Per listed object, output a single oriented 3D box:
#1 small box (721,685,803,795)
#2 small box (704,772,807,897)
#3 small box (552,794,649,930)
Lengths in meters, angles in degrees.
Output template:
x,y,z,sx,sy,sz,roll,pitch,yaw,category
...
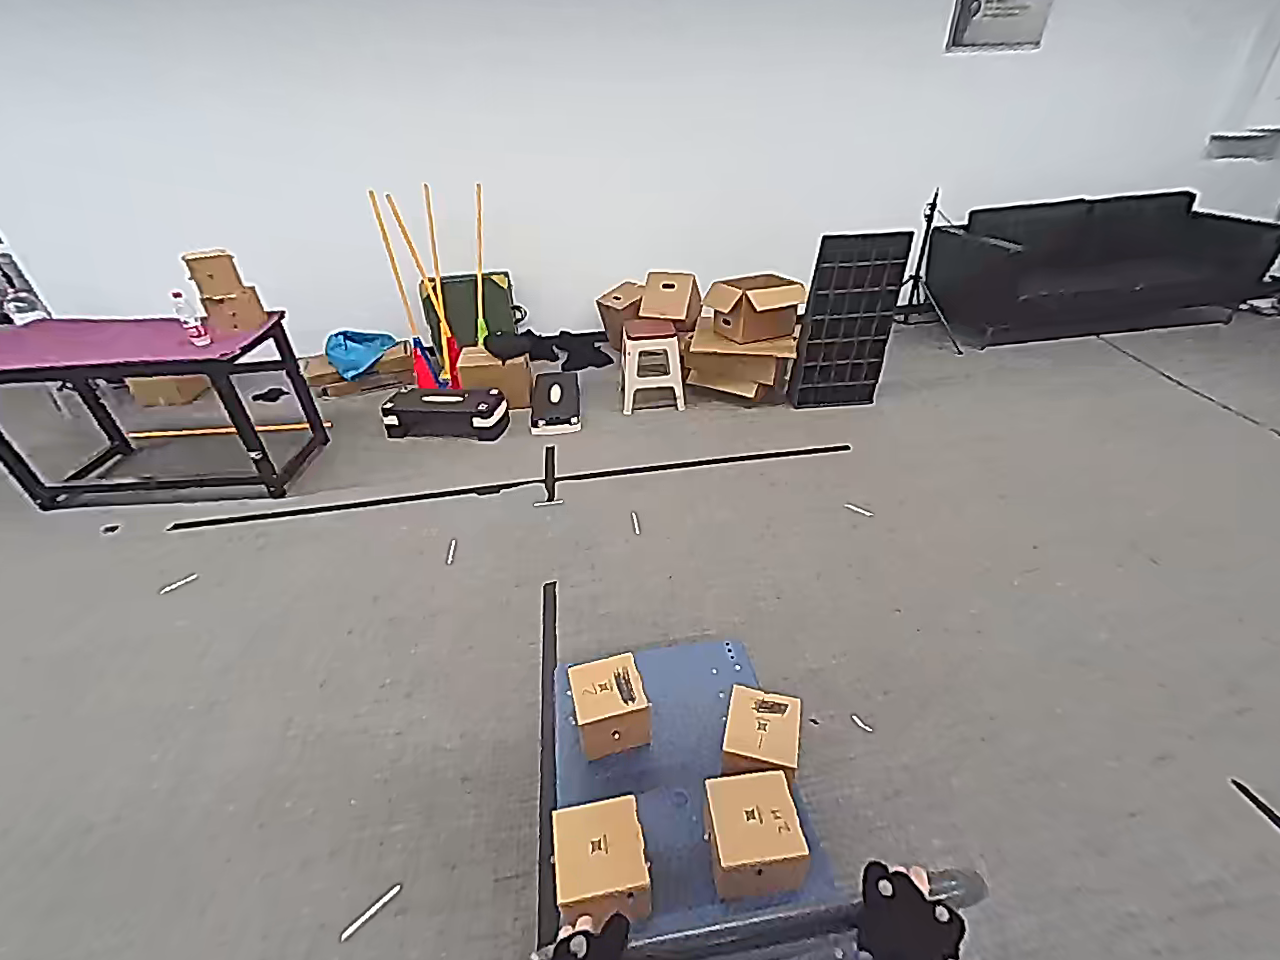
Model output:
x,y,z,sx,sy,sz,roll,pitch,yaw,category
0.290,0.633,1.299,0.168,0.176,0.179,8,37,15,small box
0.233,0.747,1.138,0.179,0.176,0.168,-5,35,-2,small box
-0.081,0.783,1.109,0.179,0.176,0.168,-6,35,-8,small box
